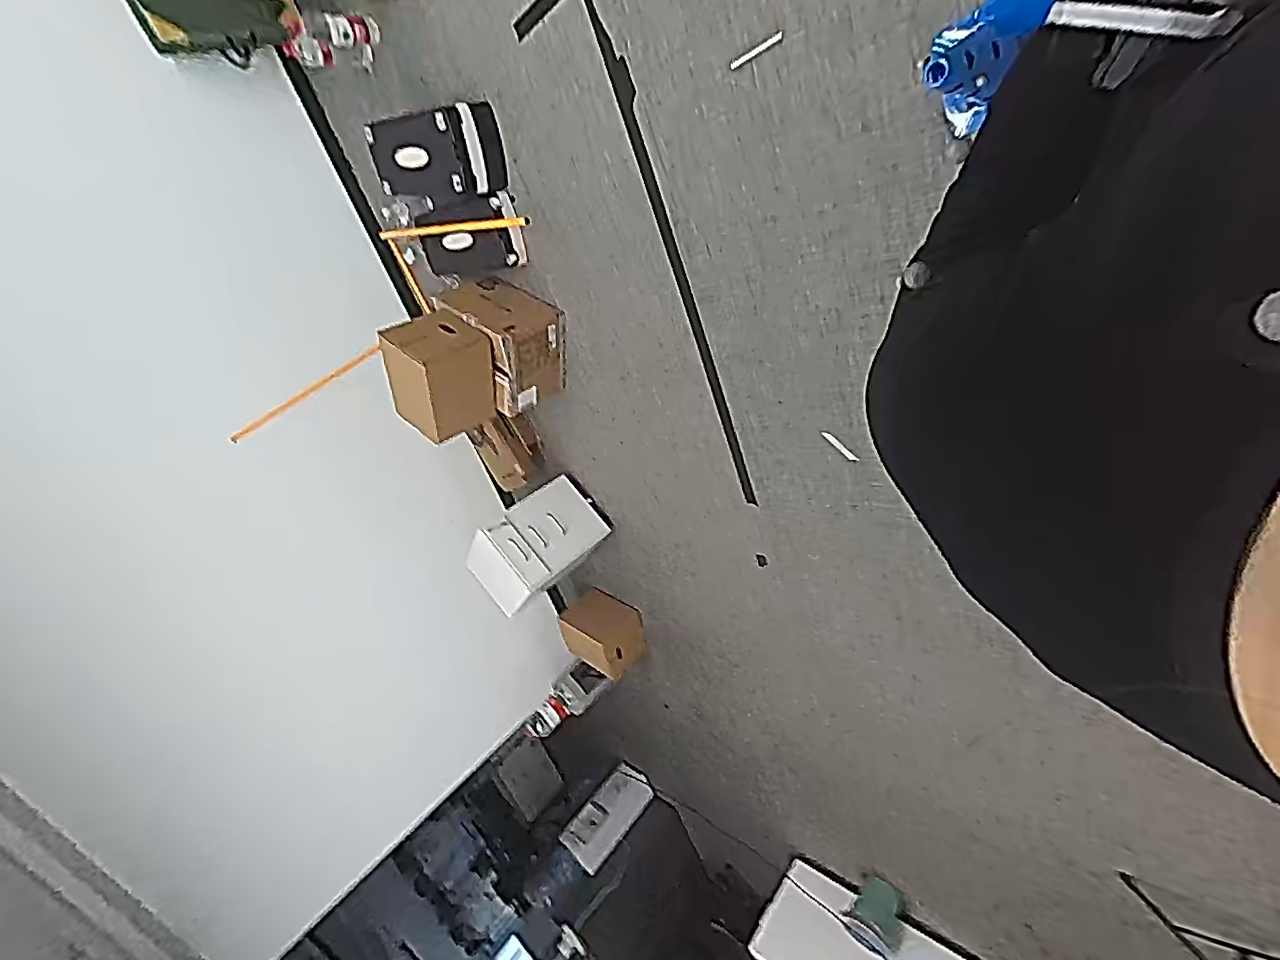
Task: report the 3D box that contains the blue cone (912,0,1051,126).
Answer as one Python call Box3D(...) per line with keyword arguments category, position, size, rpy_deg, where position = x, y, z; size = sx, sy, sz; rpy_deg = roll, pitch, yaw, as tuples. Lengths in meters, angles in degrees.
Box3D(category="blue cone", position=(0.570, -0.741, 0.958), size=(0.193, 0.380, 0.192), rpy_deg=(-3, 117, 50))
